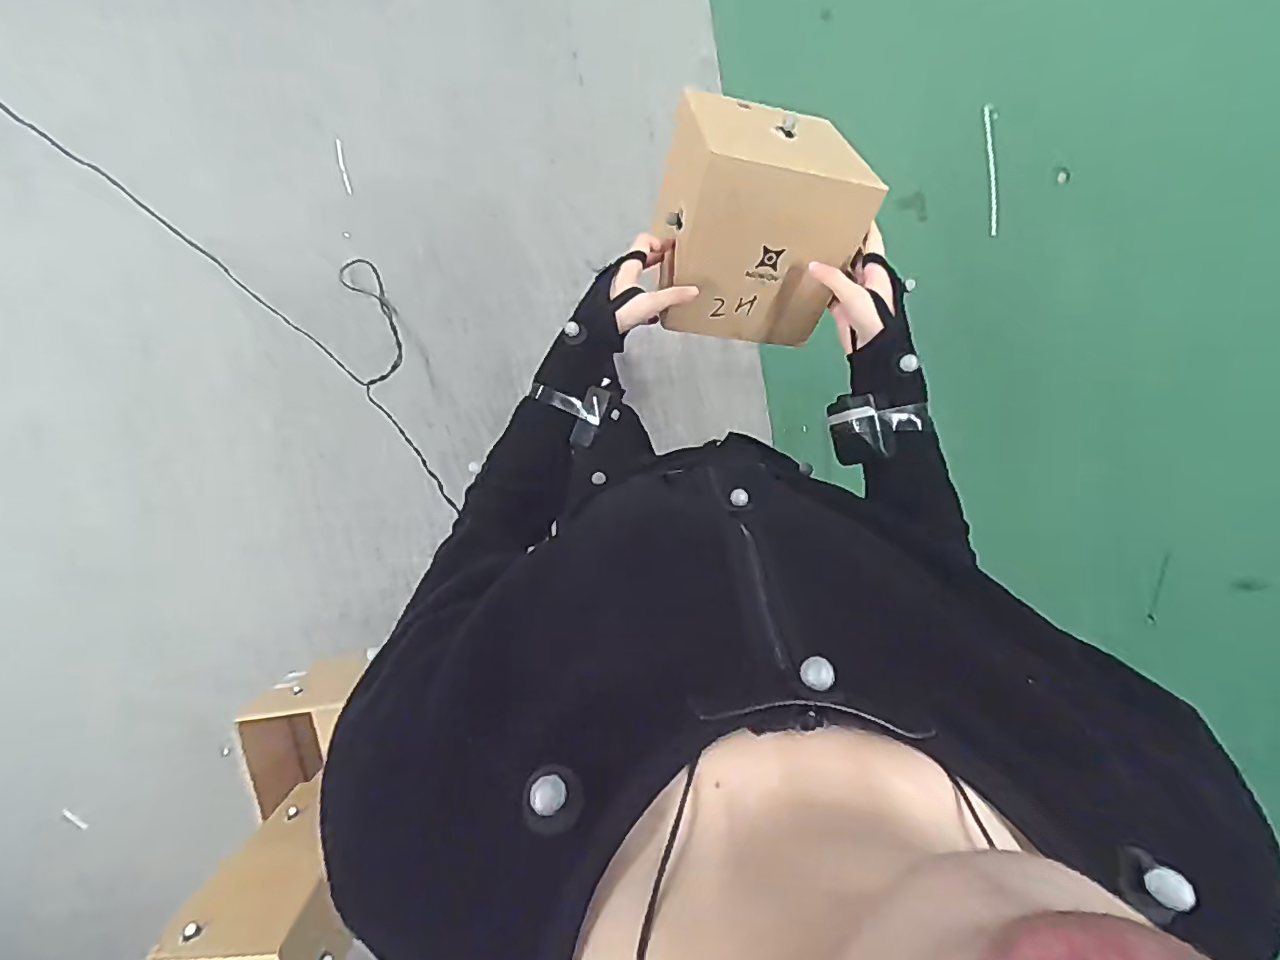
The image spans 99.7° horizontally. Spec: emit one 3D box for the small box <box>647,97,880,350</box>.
[{"bbox_3d":[0.107,-0.266,0.567,0.168,0.176,0.179,5,140,-12],"label":"small box"}]

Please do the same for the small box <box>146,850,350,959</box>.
[{"bbox_3d":[-0.547,0.674,0.784,0.179,0.176,0.168,-3,99,1],"label":"small box"}]
